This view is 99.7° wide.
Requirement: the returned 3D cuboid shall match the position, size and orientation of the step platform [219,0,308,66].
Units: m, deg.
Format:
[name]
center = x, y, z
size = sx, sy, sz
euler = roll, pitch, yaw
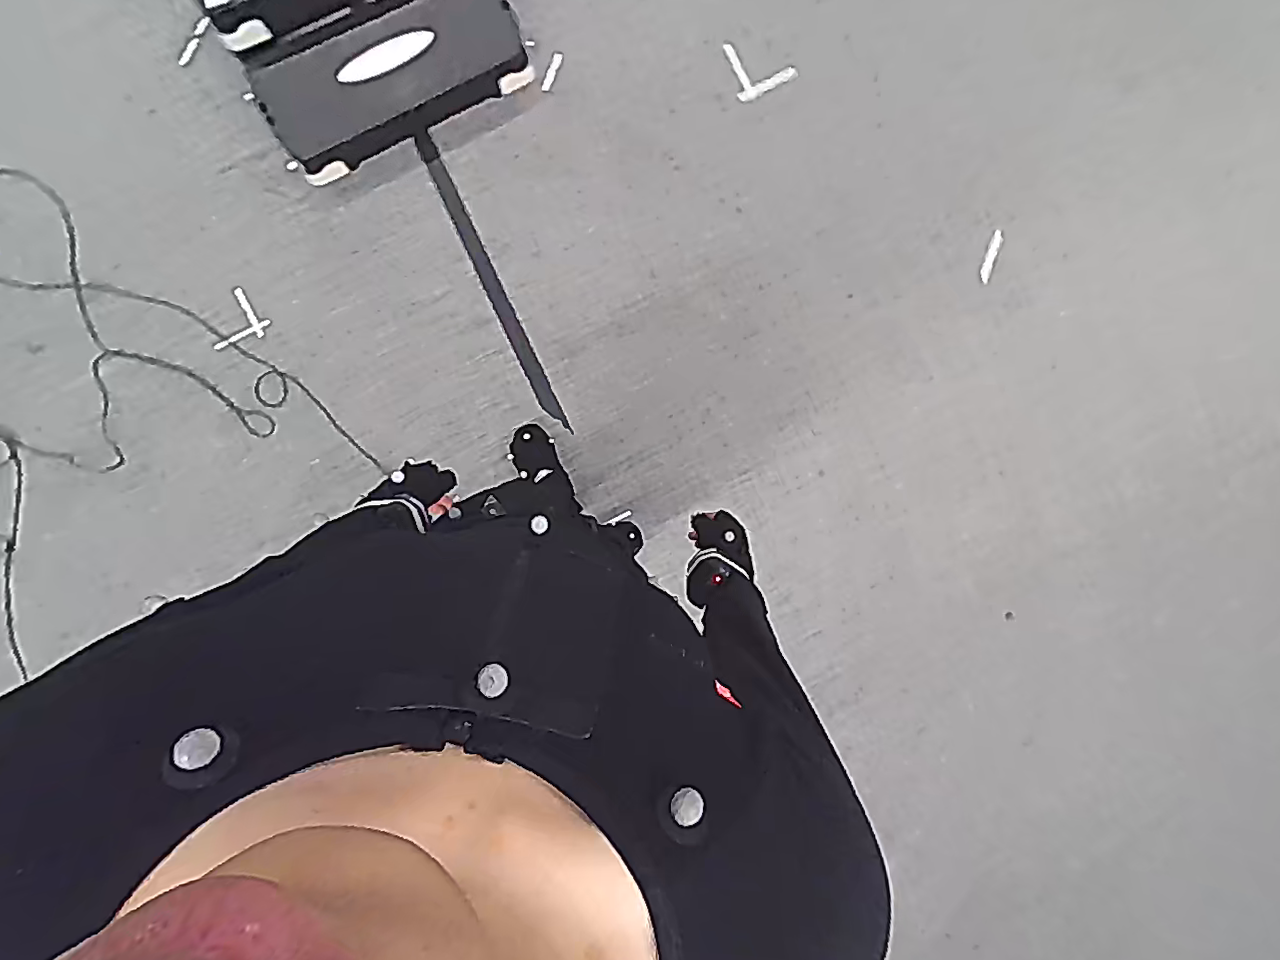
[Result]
[step platform]
center = -0.714, -1.325, 1.306
size = 0.684, 0.204, 0.286
euler = -28, 93, -3
